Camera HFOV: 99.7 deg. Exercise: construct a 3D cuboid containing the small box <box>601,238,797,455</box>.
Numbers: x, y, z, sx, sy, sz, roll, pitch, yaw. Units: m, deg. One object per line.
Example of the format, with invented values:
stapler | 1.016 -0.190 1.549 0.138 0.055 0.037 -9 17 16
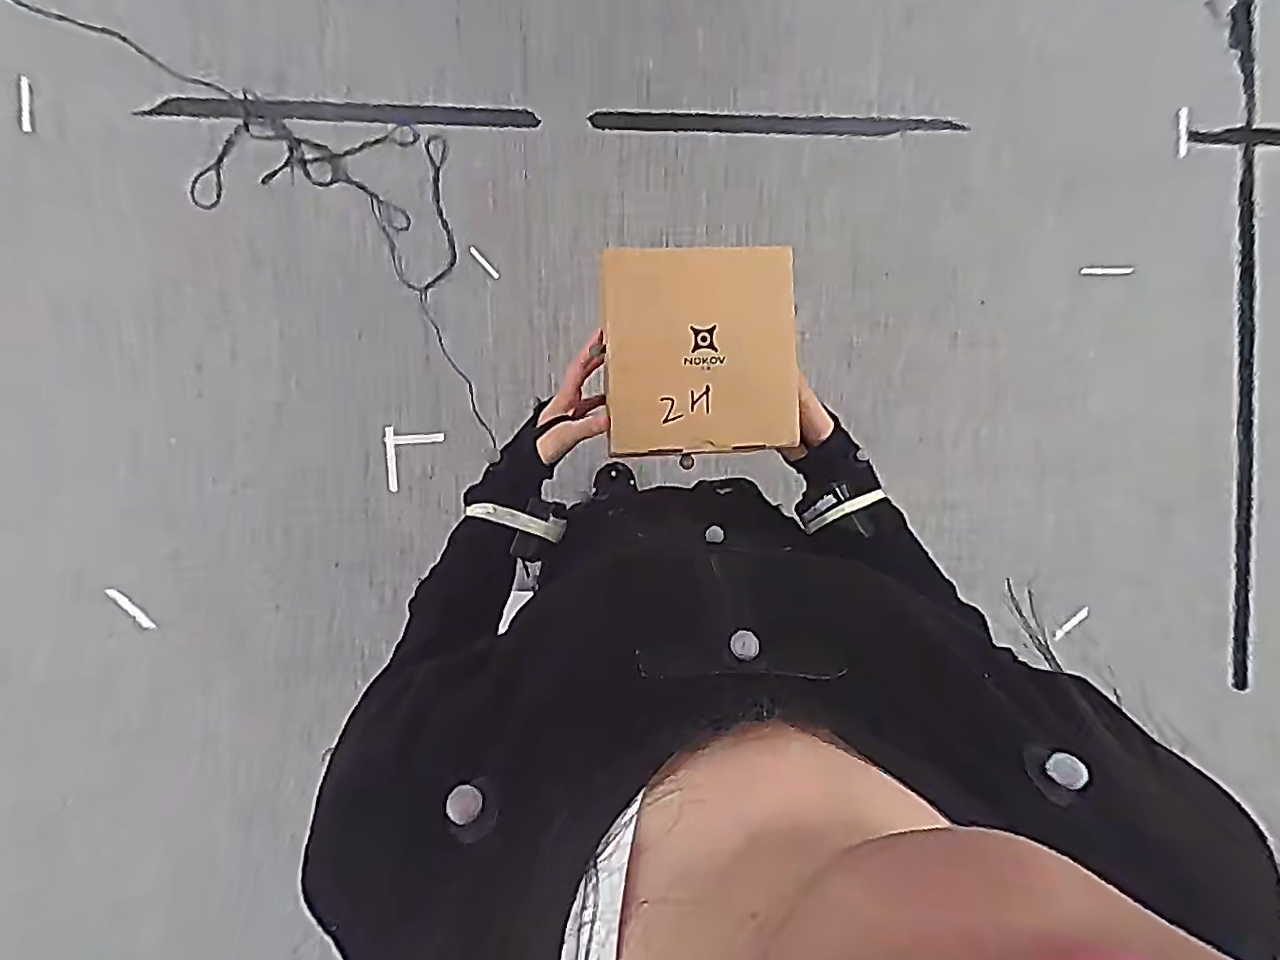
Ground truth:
small box | 0.046 -0.119 0.541 0.168 0.176 0.179 -3 91 -4
